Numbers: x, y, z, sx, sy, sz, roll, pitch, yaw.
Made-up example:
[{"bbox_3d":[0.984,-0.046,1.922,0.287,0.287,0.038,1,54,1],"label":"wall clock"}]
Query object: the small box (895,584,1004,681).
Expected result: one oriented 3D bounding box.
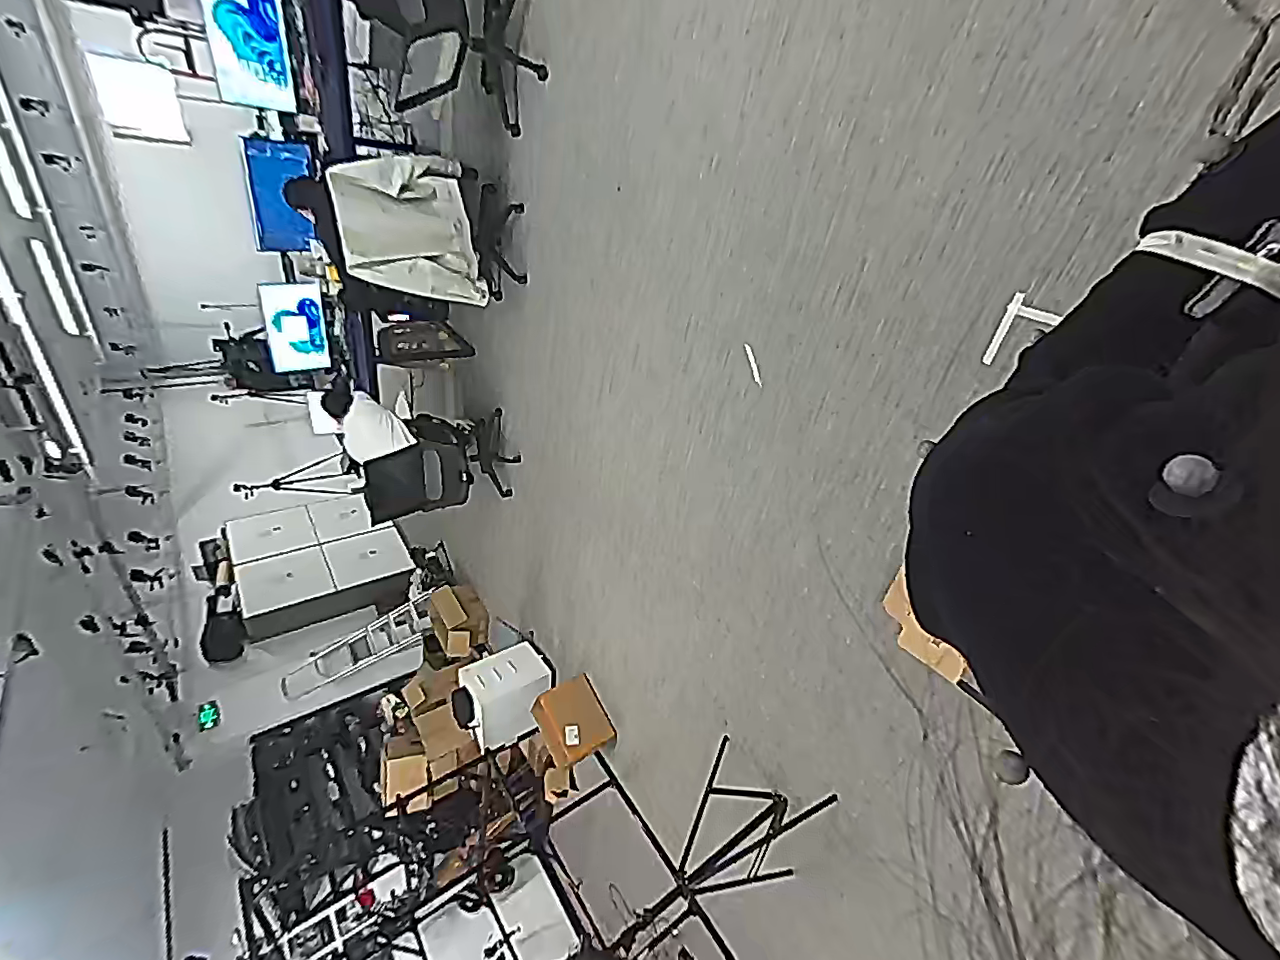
[{"bbox_3d":[0.846,0.406,1.480,0.179,0.176,0.168,37,131,41],"label":"small box"}]
